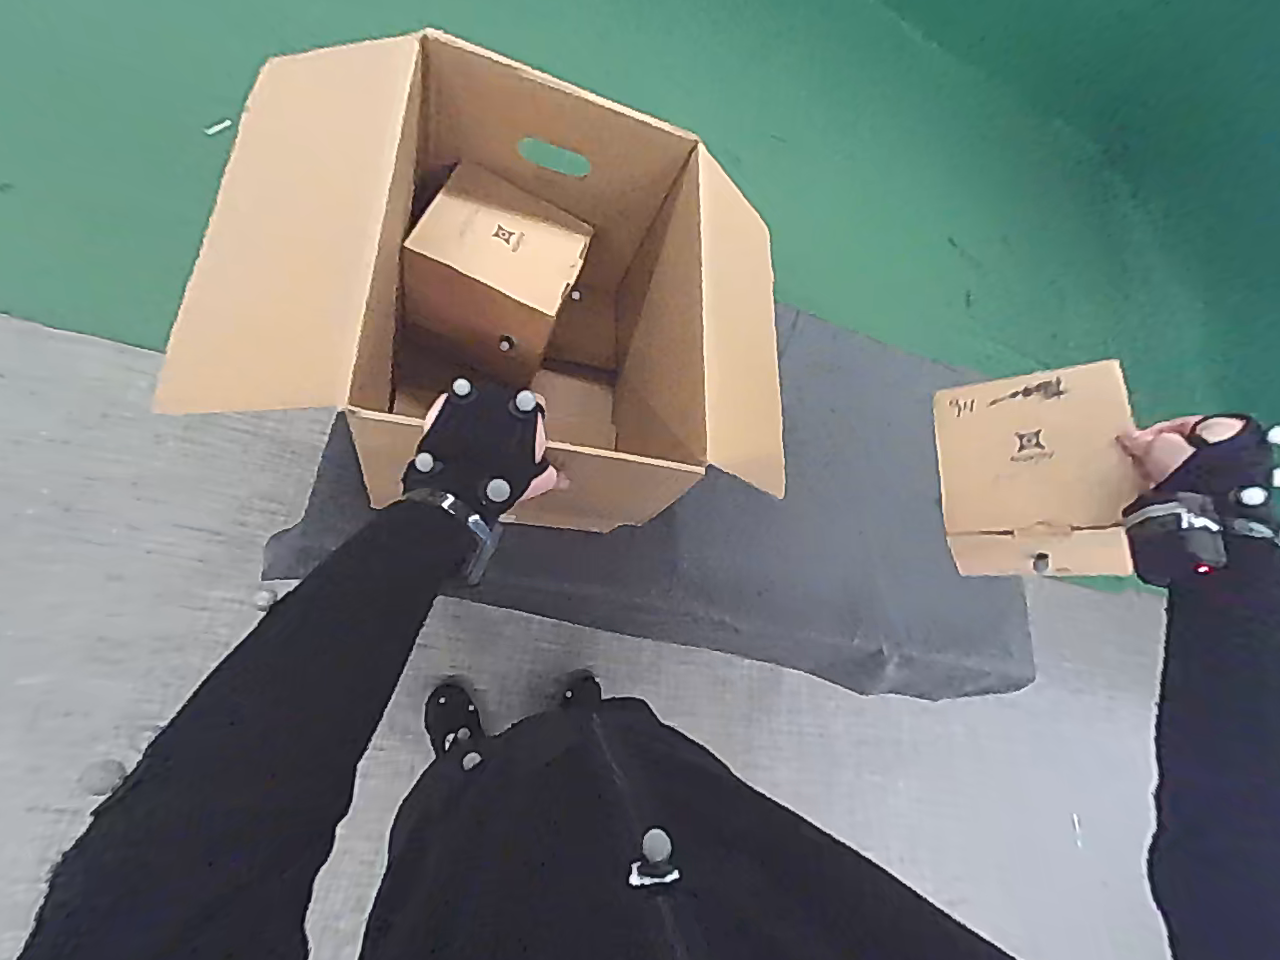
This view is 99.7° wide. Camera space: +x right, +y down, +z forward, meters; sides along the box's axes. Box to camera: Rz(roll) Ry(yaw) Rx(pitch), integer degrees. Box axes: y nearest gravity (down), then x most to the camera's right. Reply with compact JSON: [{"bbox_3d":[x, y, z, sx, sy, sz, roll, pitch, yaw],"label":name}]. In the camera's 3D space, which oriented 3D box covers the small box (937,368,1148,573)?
[{"bbox_3d":[0.450,0.005,0.618,0.176,0.168,0.179,35,56,-46],"label":"small box"}]
